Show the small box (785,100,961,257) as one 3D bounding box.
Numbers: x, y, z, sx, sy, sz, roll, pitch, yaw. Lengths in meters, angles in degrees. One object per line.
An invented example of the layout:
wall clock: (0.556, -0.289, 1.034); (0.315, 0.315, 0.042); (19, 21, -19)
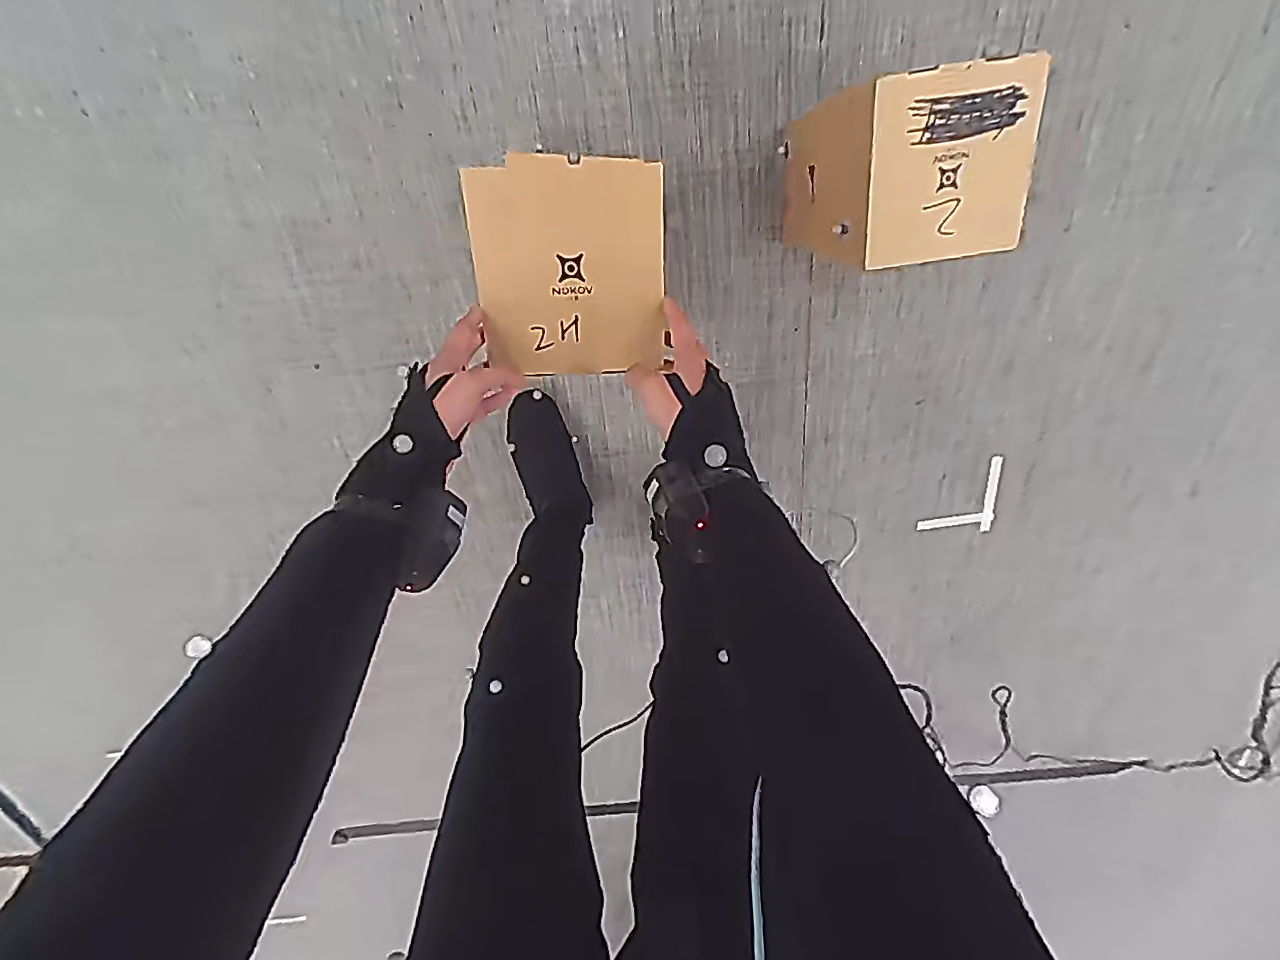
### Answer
small box: (0.311, -0.416, 0.764); (0.179, 0.176, 0.168); (-7, 117, 1)

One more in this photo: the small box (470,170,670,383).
small box: (-0.061, -0.207, 0.546); (0.168, 0.176, 0.179); (-2, 117, -2)
